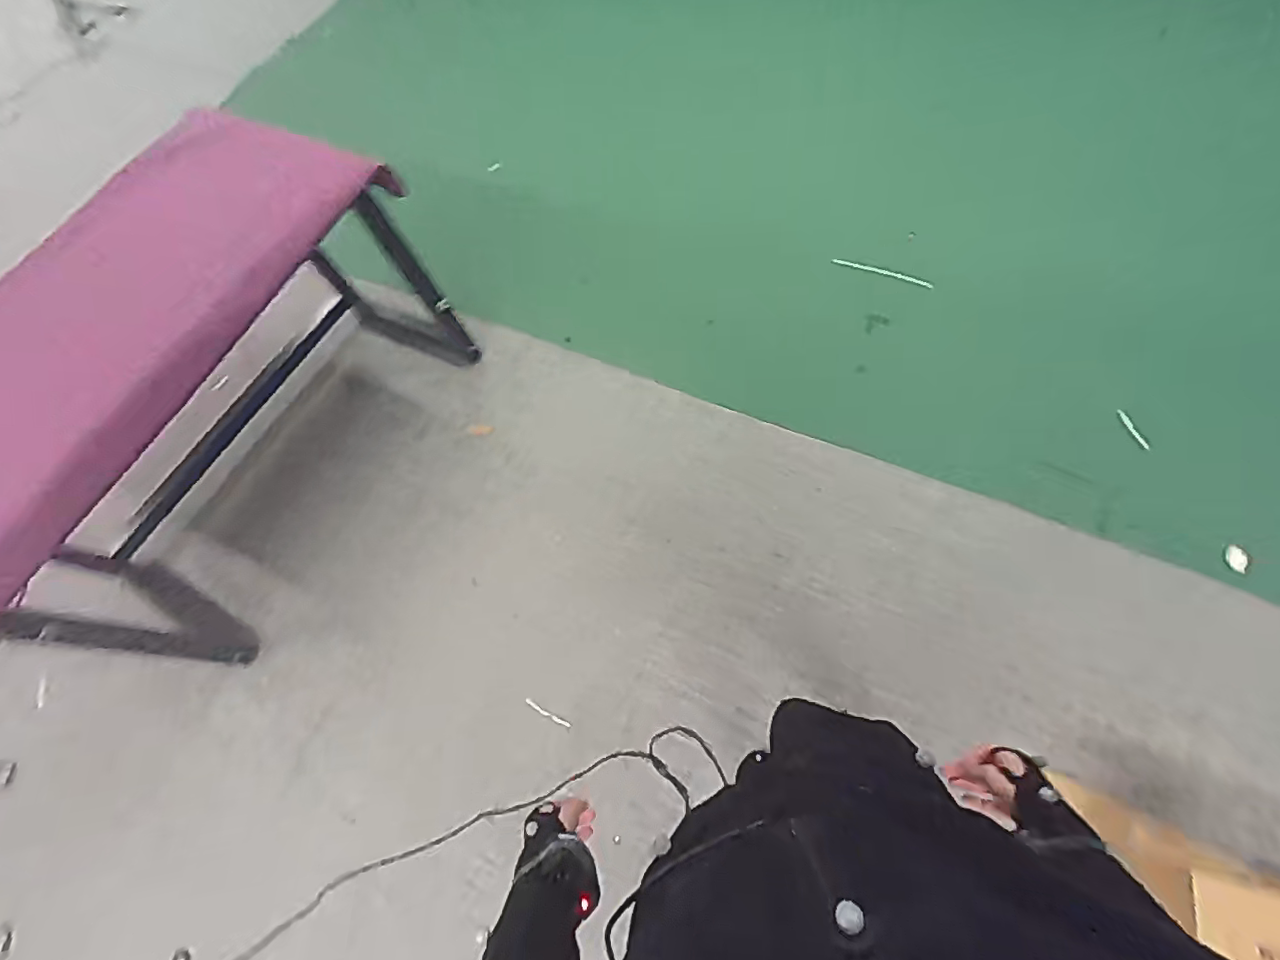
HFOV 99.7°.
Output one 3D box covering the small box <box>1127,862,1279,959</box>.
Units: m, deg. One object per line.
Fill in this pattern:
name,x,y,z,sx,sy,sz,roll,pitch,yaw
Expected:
small box,0.911,0.726,0.837,0.179,0.176,0.168,12,68,14
